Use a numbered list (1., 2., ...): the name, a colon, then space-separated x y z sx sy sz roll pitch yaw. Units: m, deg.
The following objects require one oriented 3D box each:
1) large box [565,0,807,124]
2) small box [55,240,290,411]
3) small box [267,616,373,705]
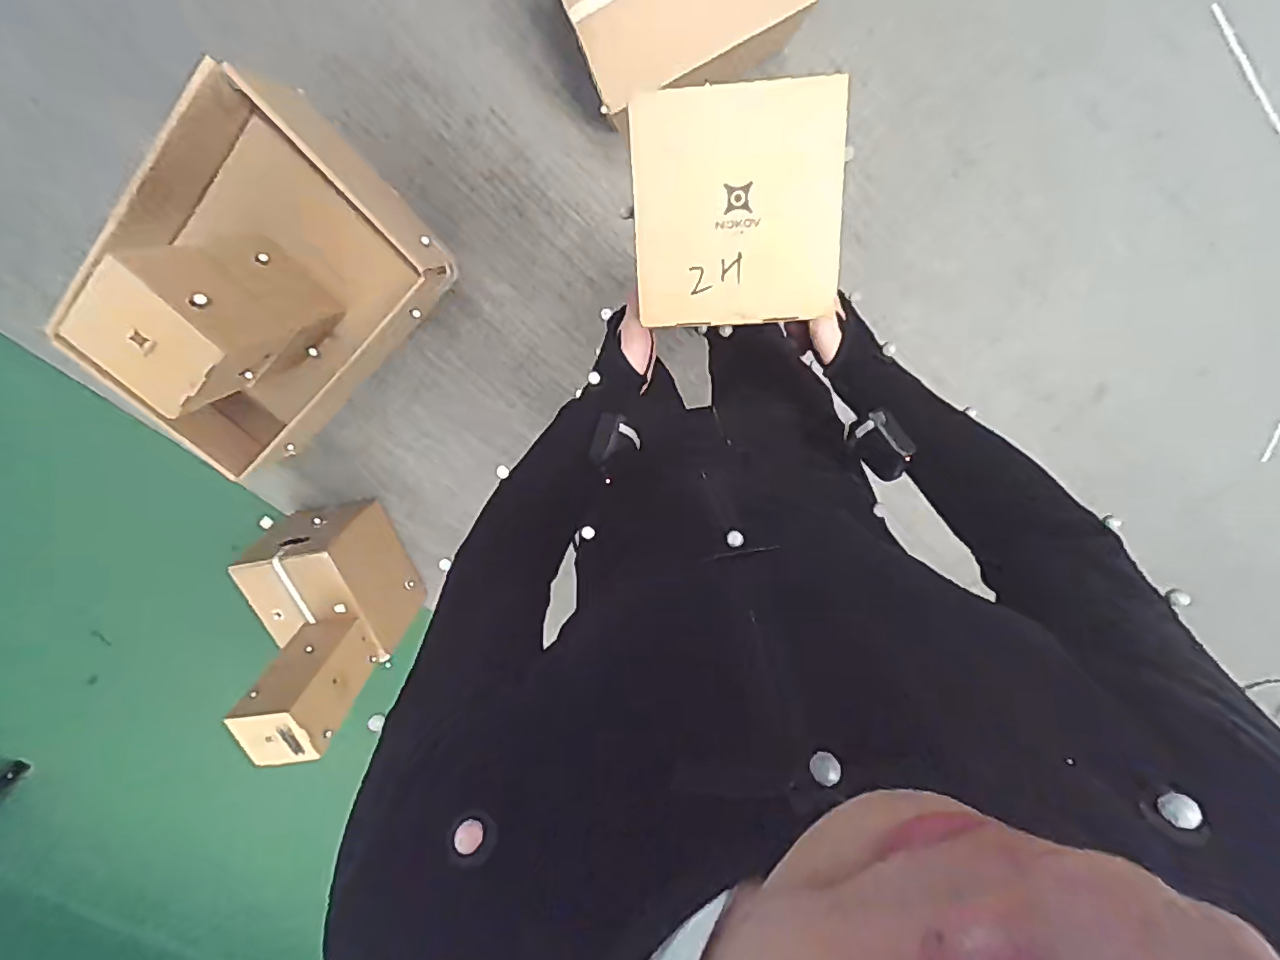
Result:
1. large box: 0.068 -0.941 1.011 0.408 0.320 0.320 -21 114 13
2. small box: -0.694 -0.242 0.824 0.168 0.176 0.179 -36 112 19
3. small box: -0.874 0.497 1.506 0.179 0.176 0.168 -7 116 6
